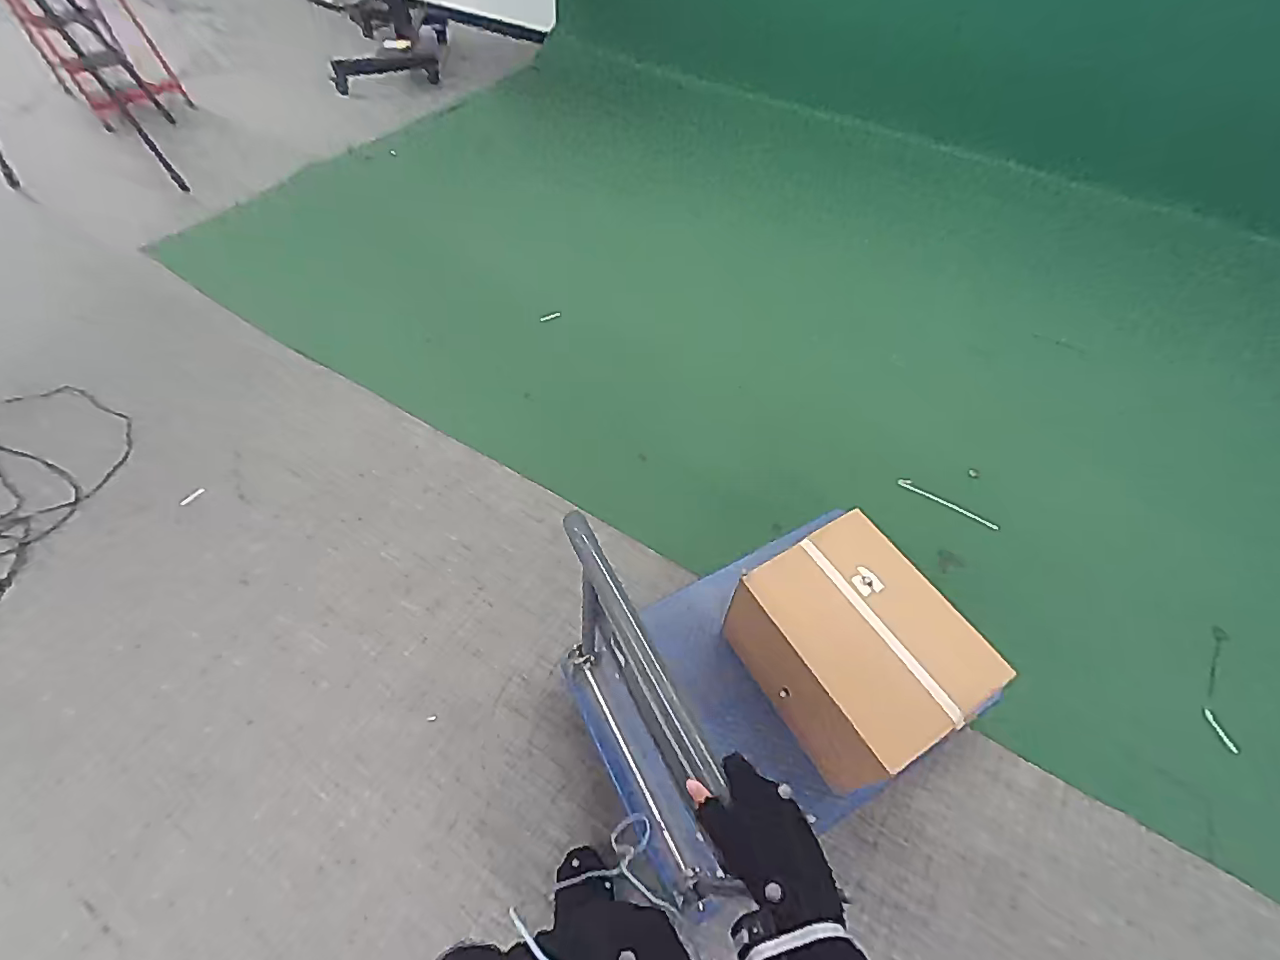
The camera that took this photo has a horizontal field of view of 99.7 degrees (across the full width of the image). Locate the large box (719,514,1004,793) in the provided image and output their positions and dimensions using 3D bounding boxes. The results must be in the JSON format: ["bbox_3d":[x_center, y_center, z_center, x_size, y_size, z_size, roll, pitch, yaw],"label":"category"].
[{"bbox_3d":[0.415,0.357,1.124,0.320,0.320,0.408,-25,58,-18],"label":"large box"}]
